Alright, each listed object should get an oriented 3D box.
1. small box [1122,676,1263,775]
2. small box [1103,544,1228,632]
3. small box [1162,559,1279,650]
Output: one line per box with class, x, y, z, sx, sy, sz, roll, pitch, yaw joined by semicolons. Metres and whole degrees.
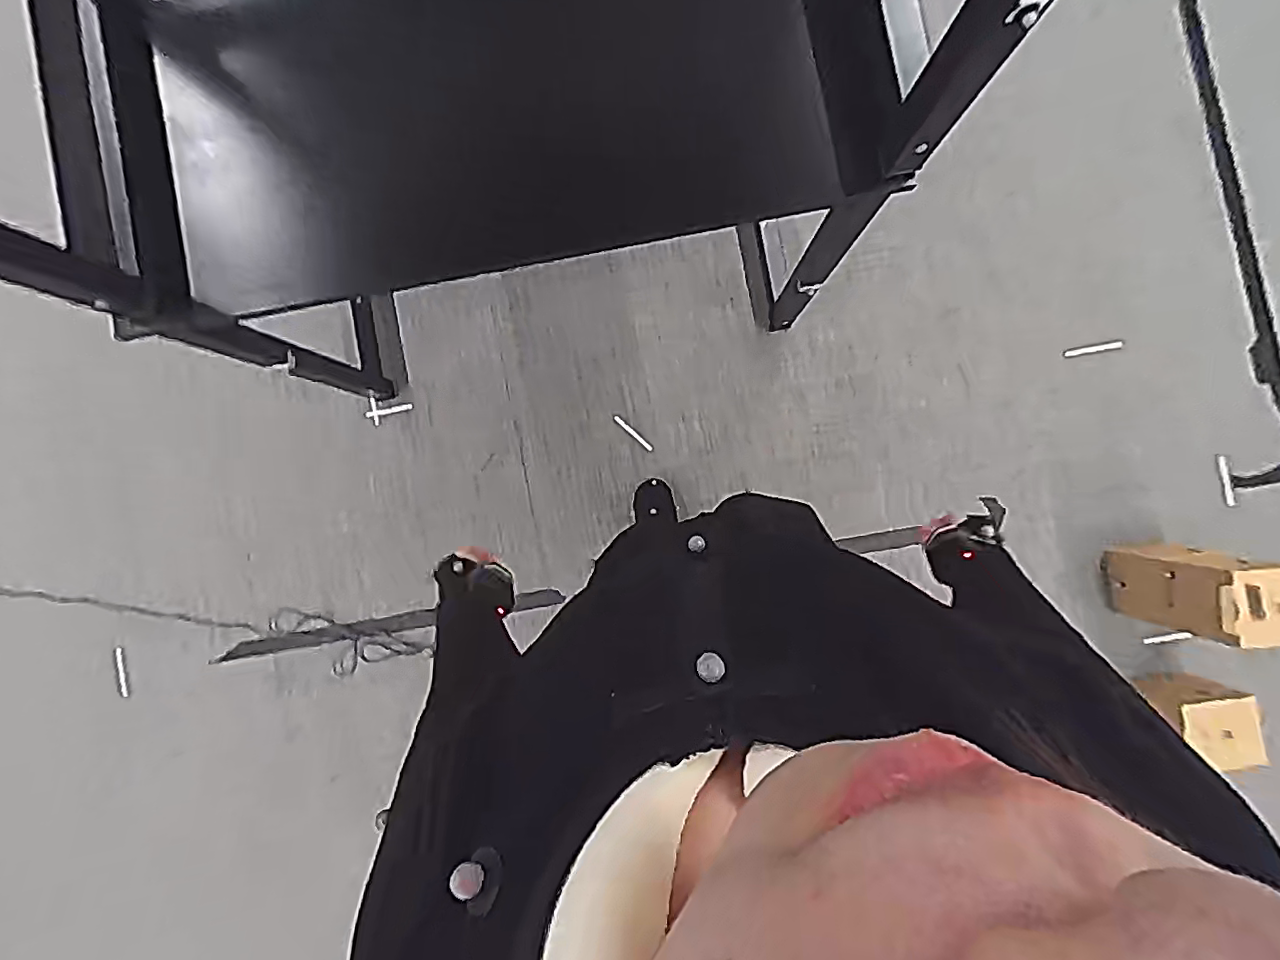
small box;1.387;0.612;1.368;0.179;0.176;0.168;-9;89;2
small box;1.334;0.268;1.374;0.168;0.176;0.179;-9;90;2
small box;1.324;0.271;1.209;0.179;0.176;0.168;-4;90;1
